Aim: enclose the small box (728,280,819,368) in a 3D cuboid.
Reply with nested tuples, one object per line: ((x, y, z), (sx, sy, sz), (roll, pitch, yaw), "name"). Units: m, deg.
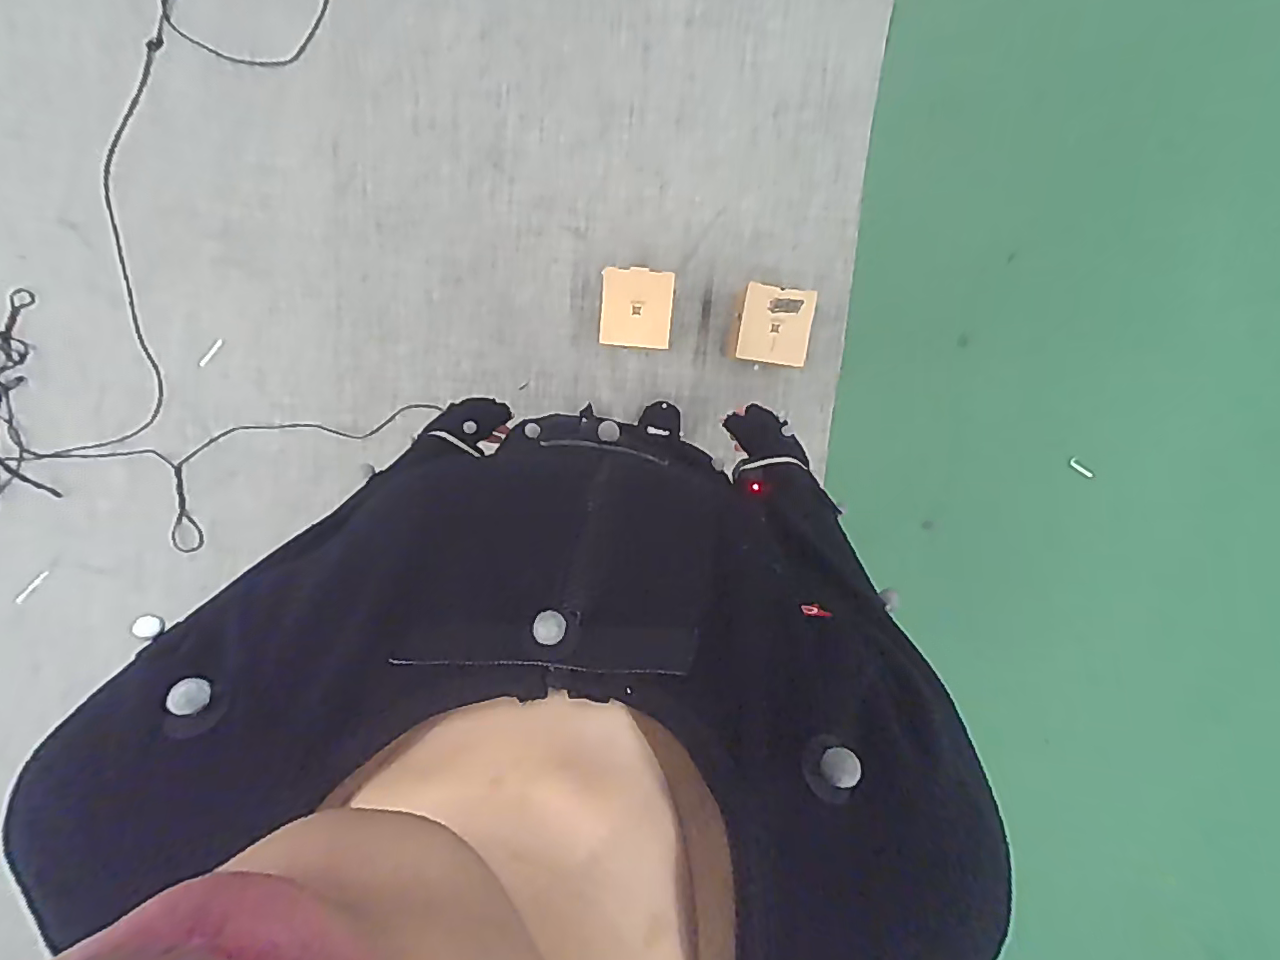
((0.319, -0.377, 1.331), (0.168, 0.176, 0.179), (8, 100, -1), "small box")

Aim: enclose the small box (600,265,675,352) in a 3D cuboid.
((-0.005, -0.413, 1.327), (0.168, 0.176, 0.179), (4, 99, -1), "small box")
